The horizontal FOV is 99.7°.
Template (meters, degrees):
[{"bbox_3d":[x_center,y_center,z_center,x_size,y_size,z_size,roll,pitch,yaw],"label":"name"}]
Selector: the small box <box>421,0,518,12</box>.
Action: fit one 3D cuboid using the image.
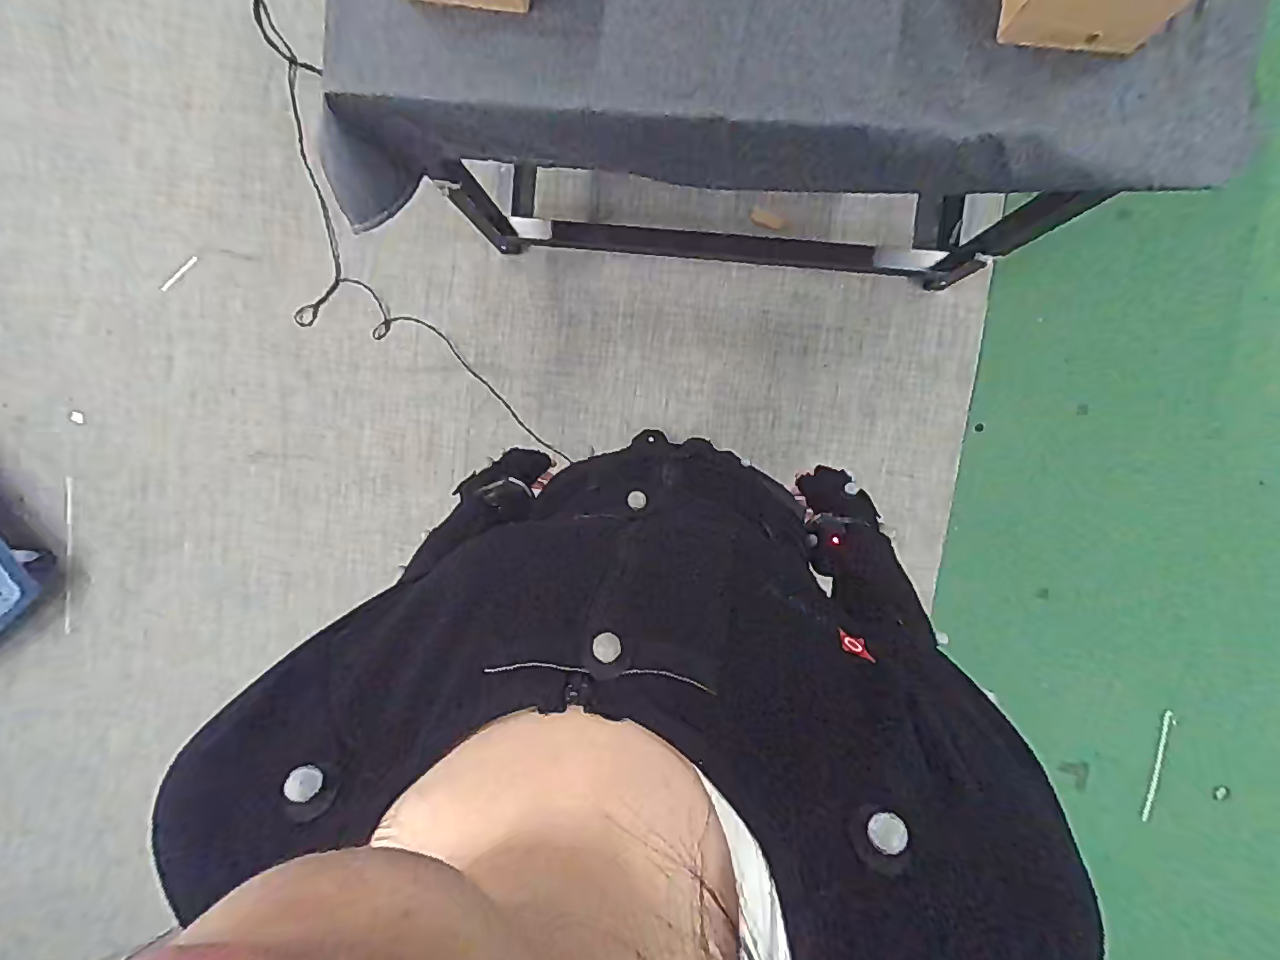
[{"bbox_3d":[-0.227,-0.707,0.640,0.179,0.176,0.168,9,95,3],"label":"small box"}]
